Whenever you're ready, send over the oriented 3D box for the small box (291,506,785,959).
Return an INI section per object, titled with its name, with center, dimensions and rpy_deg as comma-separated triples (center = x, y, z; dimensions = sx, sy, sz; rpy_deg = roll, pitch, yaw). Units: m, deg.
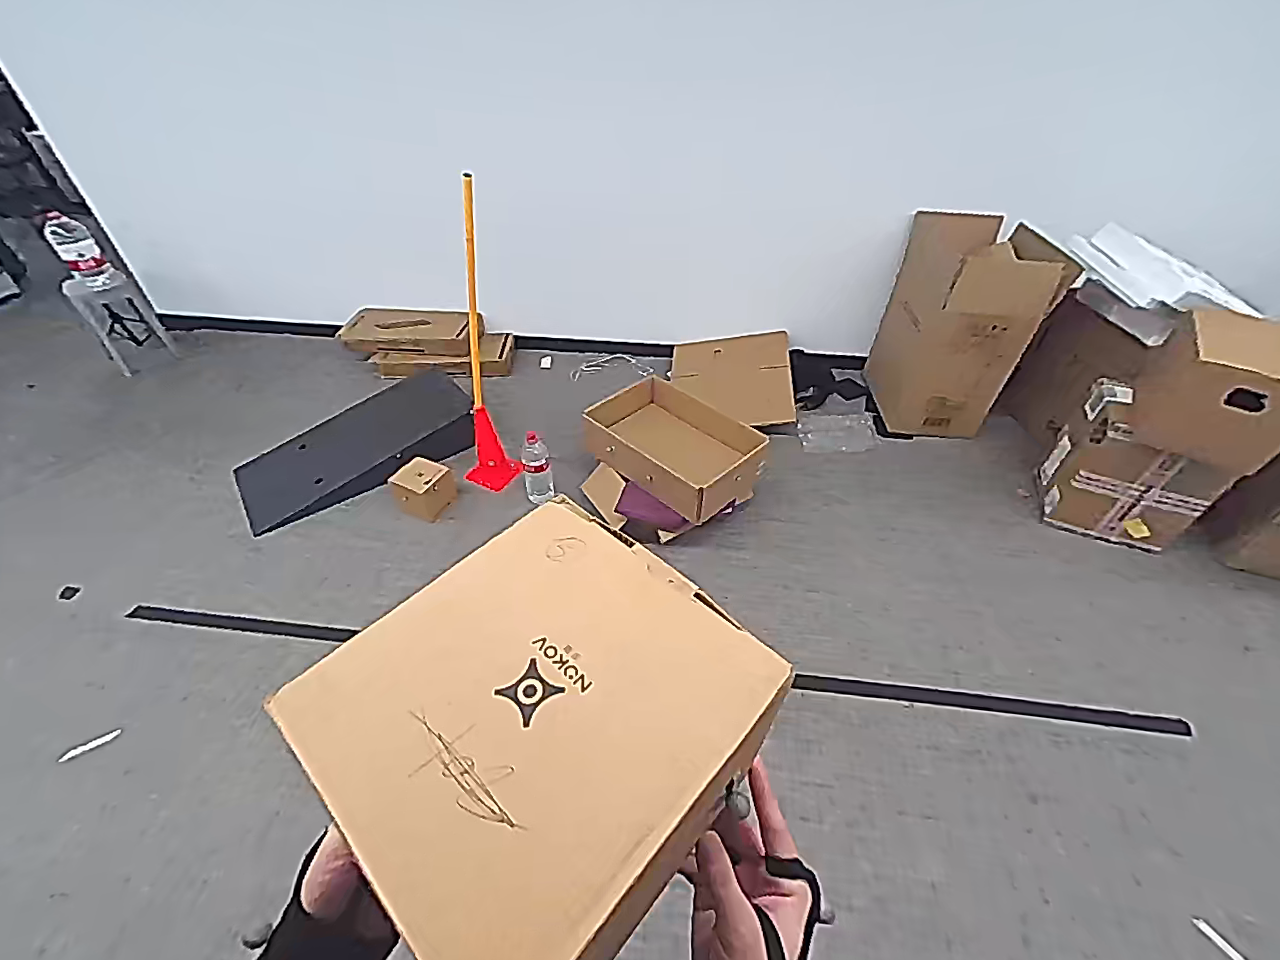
[small box]
center = -0.046, 0.155, 0.313
dimensions = 0.168, 0.176, 0.179
rpy_deg = 33, 55, 28
